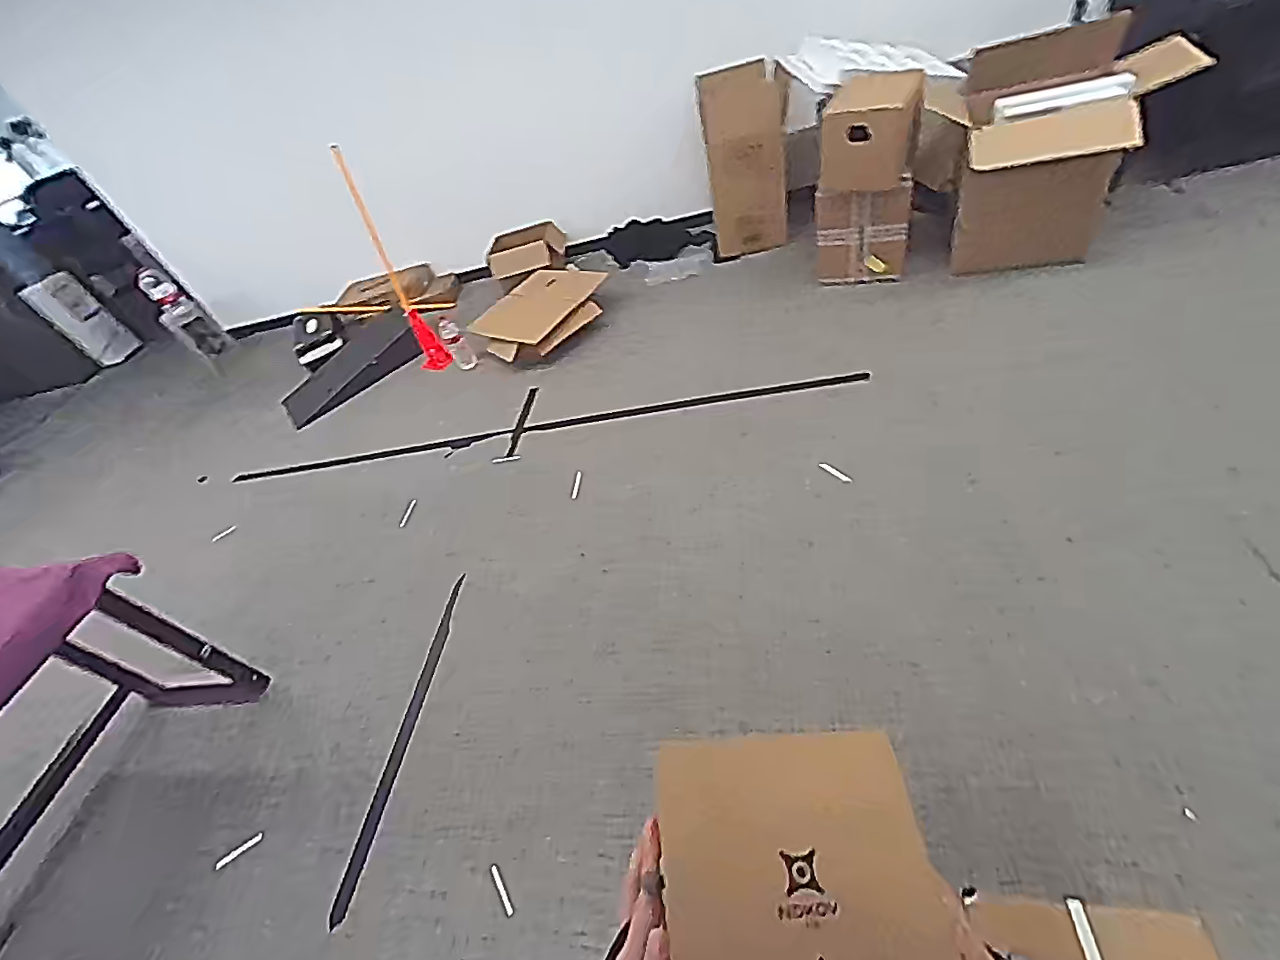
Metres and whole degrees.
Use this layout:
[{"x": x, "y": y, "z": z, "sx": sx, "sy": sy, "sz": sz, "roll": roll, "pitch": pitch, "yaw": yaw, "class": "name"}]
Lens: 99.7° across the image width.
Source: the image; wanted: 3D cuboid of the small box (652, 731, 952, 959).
[{"x": 0.096, "y": 0.303, "z": 0.391, "sx": 0.168, "sy": 0.176, "sz": 0.179, "roll": -4, "pitch": 49, "yaw": -1, "class": "small box"}]
